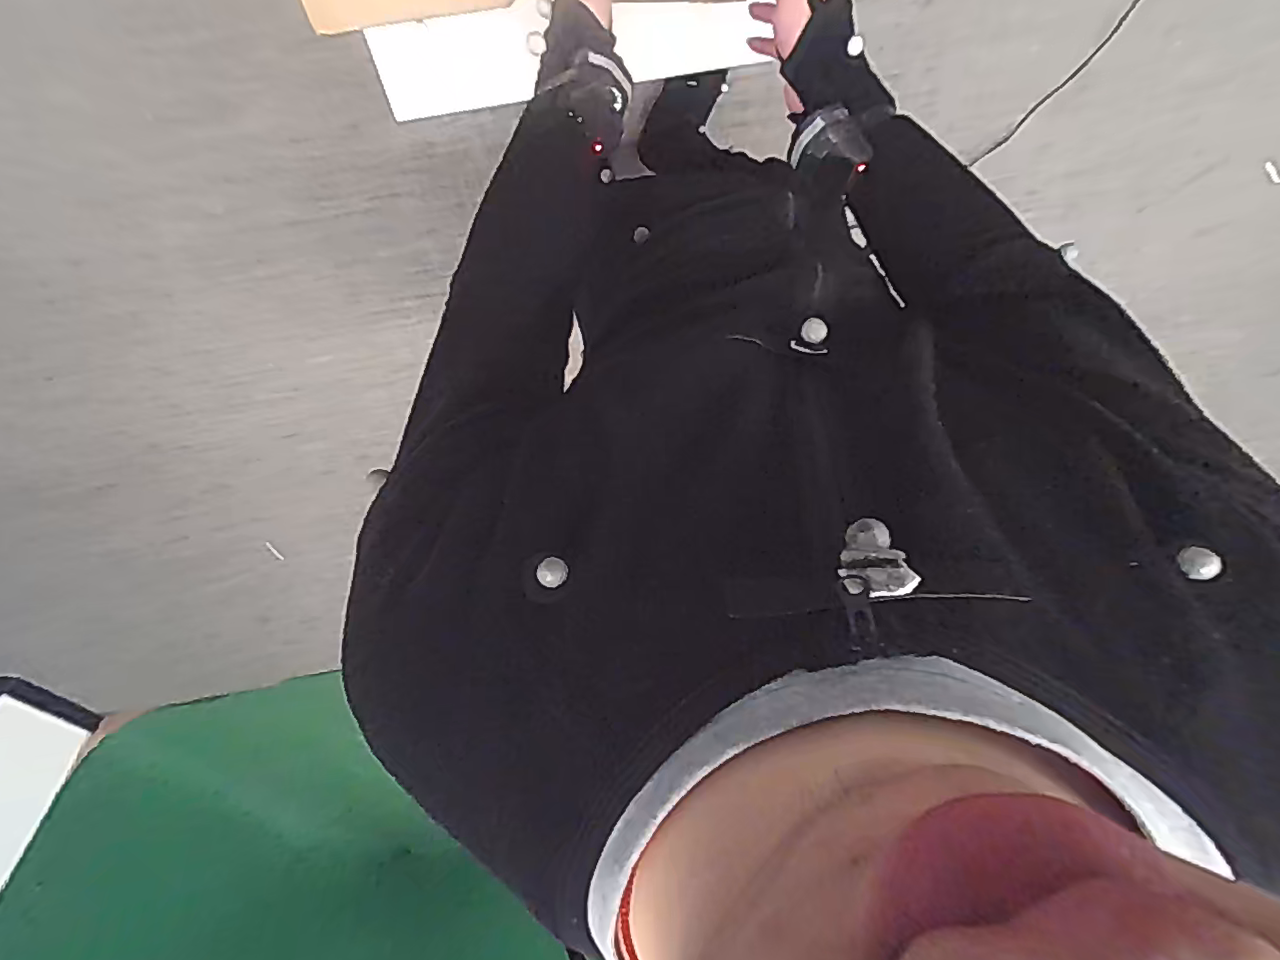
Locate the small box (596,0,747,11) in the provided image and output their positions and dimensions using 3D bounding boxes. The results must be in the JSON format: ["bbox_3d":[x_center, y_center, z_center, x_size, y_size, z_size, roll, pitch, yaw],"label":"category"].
[{"bbox_3d":[0.042,-0.536,0.478,0.179,0.176,0.168,-6,124,-5],"label":"small box"}]

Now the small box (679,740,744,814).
[{"bbox_3d":[0.234,0.992,1.813,0.179,0.176,0.168,-6,134,-4],"label":"small box"}]
